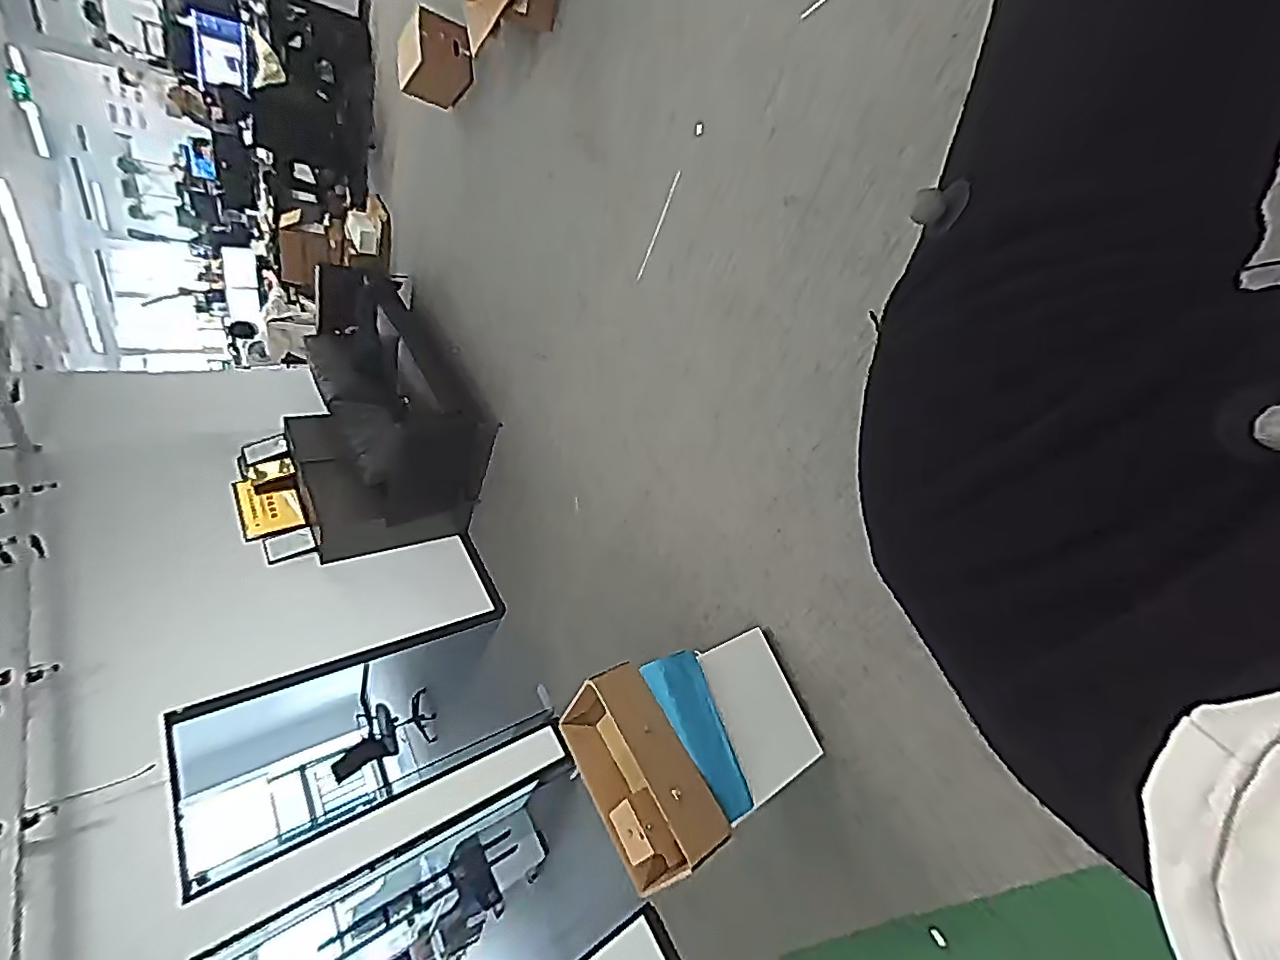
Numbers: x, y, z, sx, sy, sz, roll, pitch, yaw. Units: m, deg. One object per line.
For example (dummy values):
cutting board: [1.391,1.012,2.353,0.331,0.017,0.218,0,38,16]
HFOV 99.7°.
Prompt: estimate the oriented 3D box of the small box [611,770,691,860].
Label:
small box: [0.036,1.070,1.734,0.168,0.176,0.179,54,137,29]
